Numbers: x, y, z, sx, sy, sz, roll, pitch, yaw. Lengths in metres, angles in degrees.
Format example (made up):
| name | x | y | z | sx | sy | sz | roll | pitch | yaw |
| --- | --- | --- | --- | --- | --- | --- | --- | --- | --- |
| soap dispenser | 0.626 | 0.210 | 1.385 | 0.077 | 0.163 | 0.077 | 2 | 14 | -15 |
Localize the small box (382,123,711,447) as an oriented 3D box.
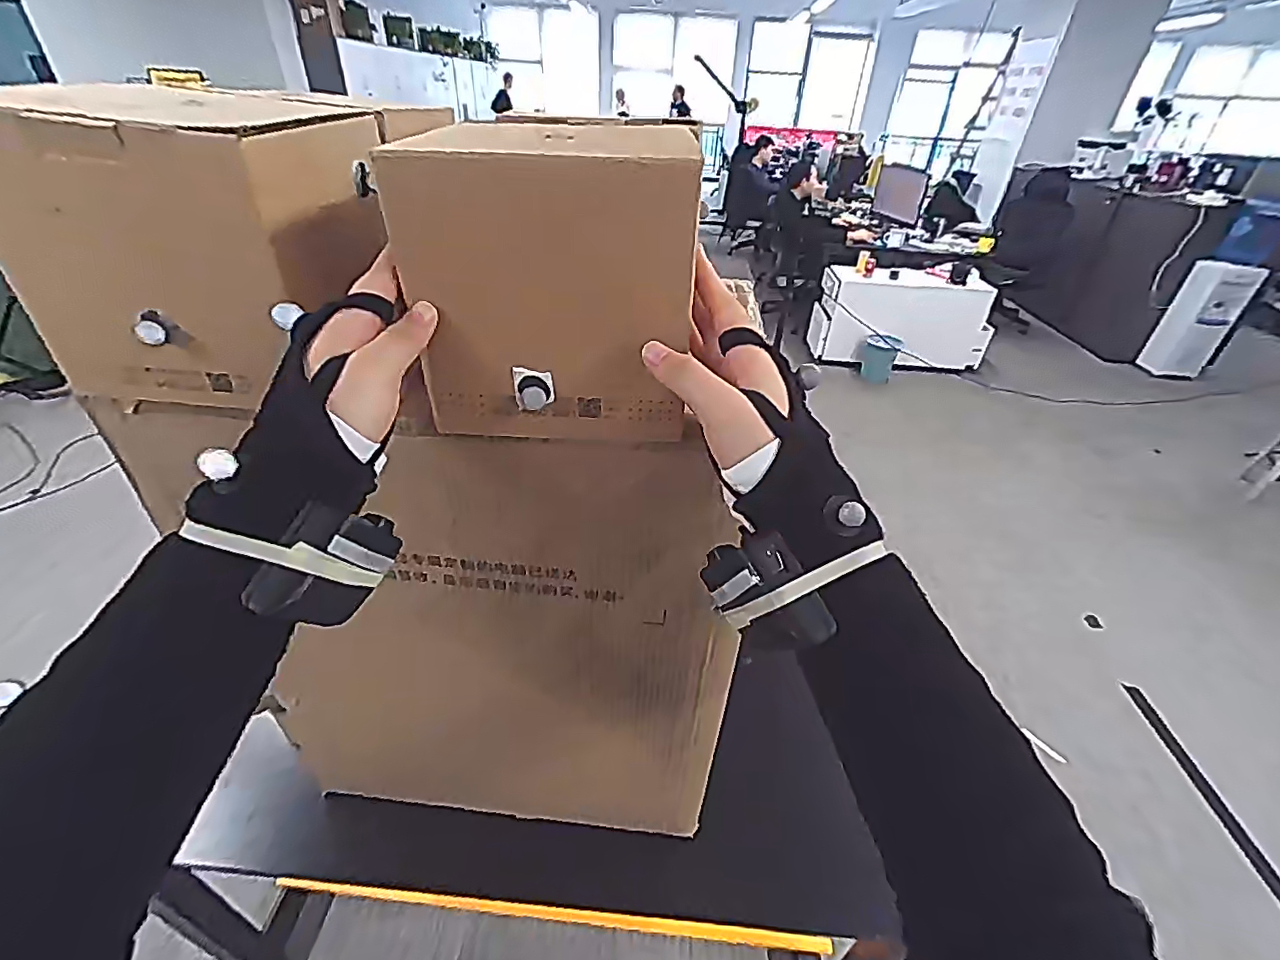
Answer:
| name | x | y | z | sx | sy | sz | roll | pitch | yaw |
| --- | --- | --- | --- | --- | --- | --- | --- | --- | --- |
| small box | -0.047 | -0.140 | 0.377 | 0.168 | 0.176 | 0.179 | 0 | 38 | 0 |
